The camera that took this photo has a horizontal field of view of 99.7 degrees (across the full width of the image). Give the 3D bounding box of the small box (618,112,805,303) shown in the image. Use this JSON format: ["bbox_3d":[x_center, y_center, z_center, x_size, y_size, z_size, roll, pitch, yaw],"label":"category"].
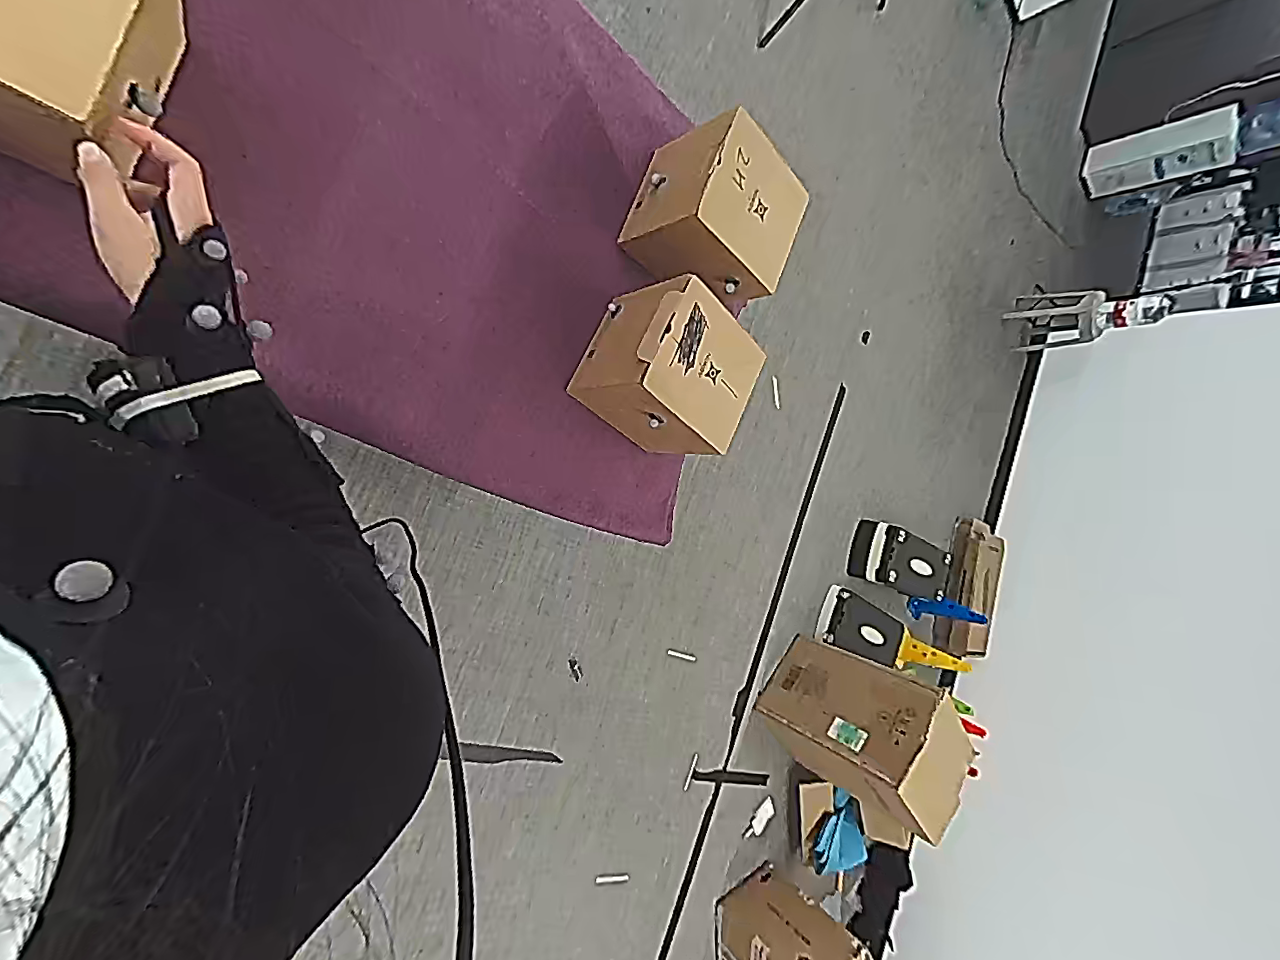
[{"bbox_3d":[0.101,-0.373,0.784,0.179,0.176,0.168,28,79,-38],"label":"small box"}]

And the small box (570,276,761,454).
[{"bbox_3d":[0.033,-0.149,0.760,0.179,0.176,0.168,35,73,-36],"label":"small box"}]

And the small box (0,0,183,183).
[{"bbox_3d":[-0.441,-0.334,0.363,0.179,0.176,0.168,21,82,-38],"label":"small box"}]
